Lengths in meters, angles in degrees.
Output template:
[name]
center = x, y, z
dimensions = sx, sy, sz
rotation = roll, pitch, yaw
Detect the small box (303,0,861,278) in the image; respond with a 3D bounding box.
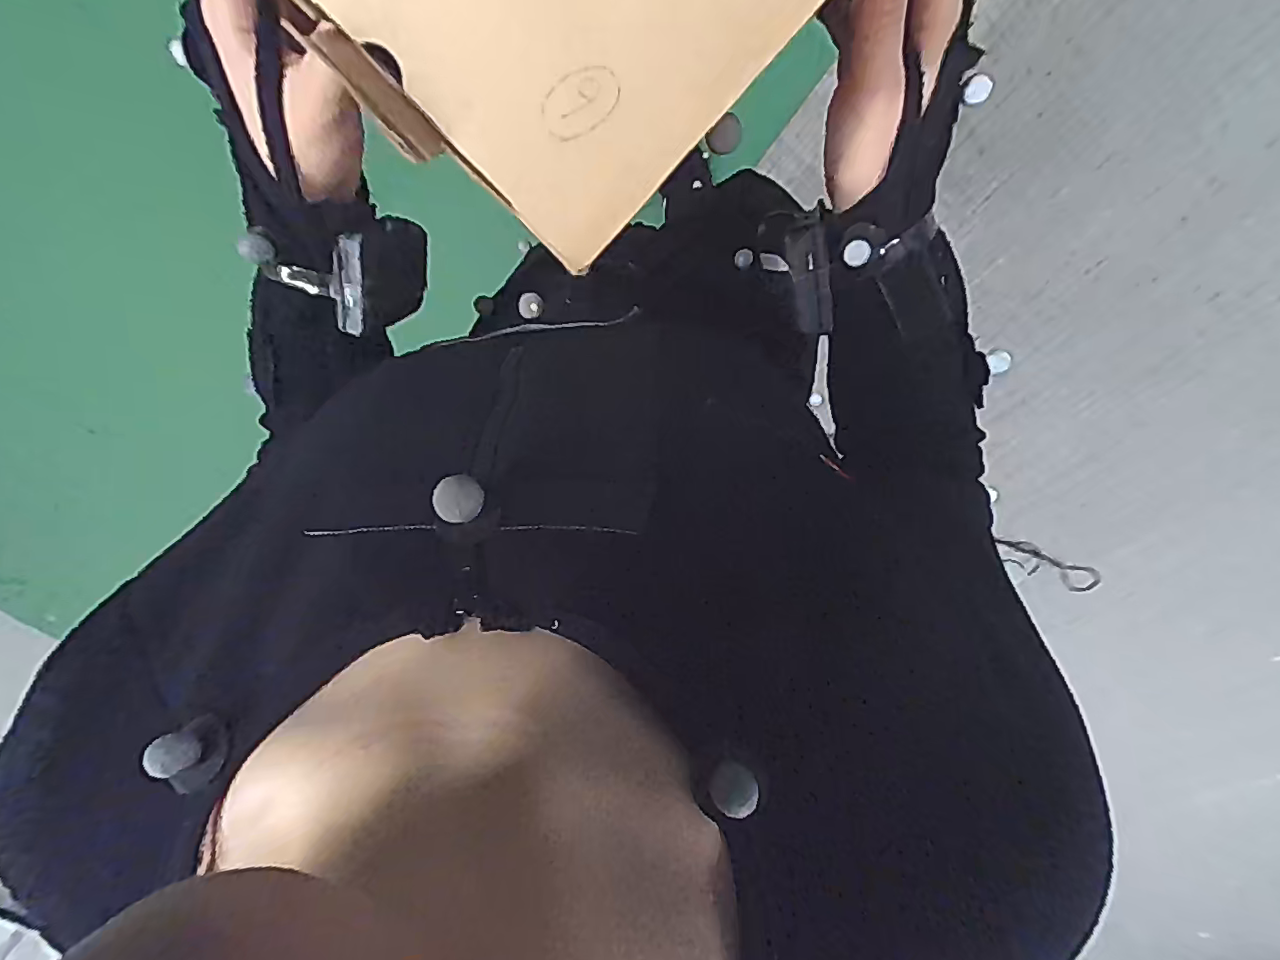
[small box]
center = -0.012, -0.215, 0.212
dimensions = 0.179, 0.176, 0.168
rotation = -39, 113, 22
